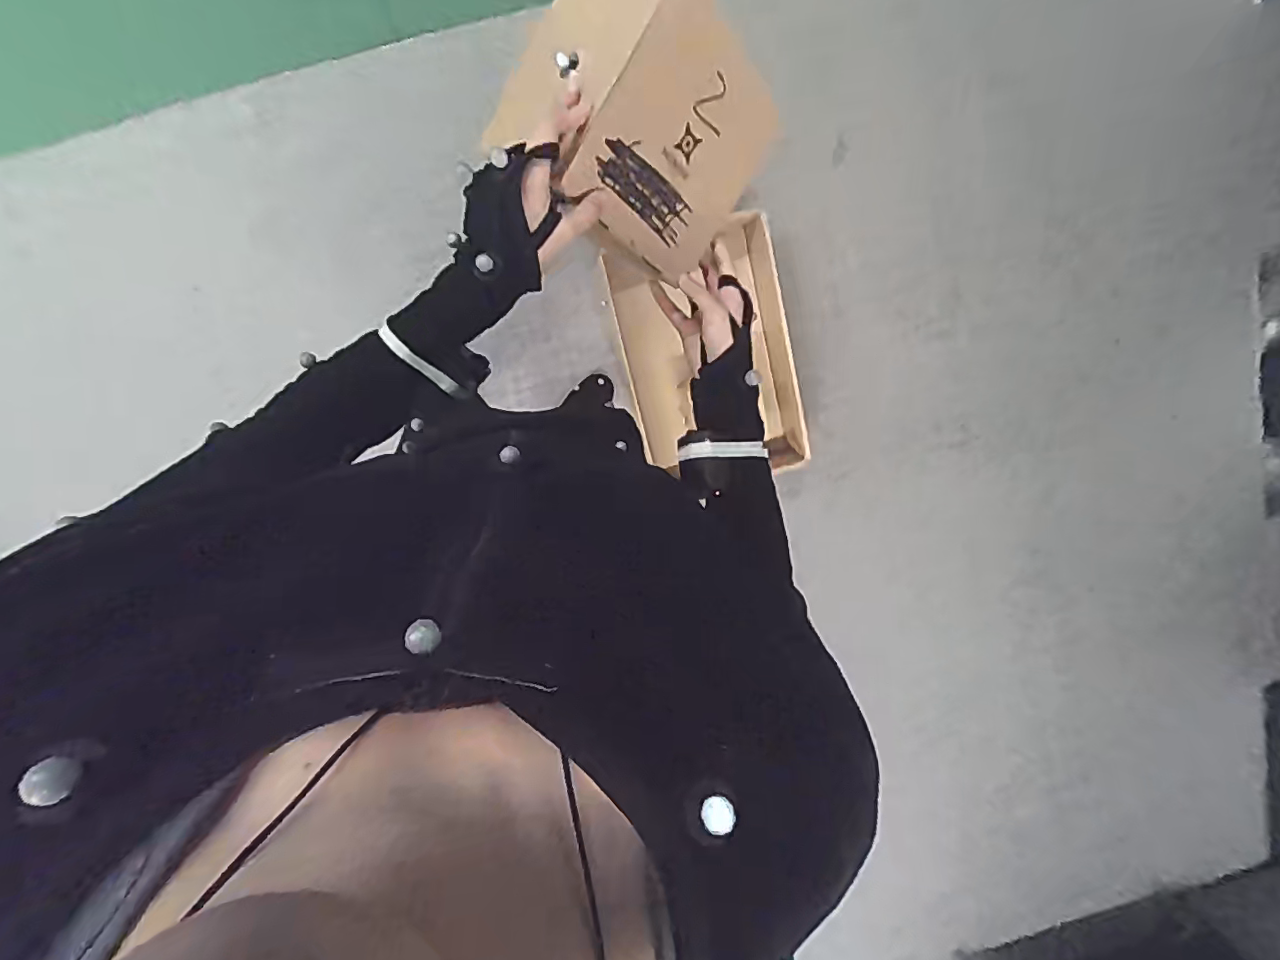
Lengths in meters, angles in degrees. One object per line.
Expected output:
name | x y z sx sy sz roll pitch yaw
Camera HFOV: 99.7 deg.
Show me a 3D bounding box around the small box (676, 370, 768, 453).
small box | 0.200 -0.178 1.360 0.179 0.176 0.168 -14 103 -1
